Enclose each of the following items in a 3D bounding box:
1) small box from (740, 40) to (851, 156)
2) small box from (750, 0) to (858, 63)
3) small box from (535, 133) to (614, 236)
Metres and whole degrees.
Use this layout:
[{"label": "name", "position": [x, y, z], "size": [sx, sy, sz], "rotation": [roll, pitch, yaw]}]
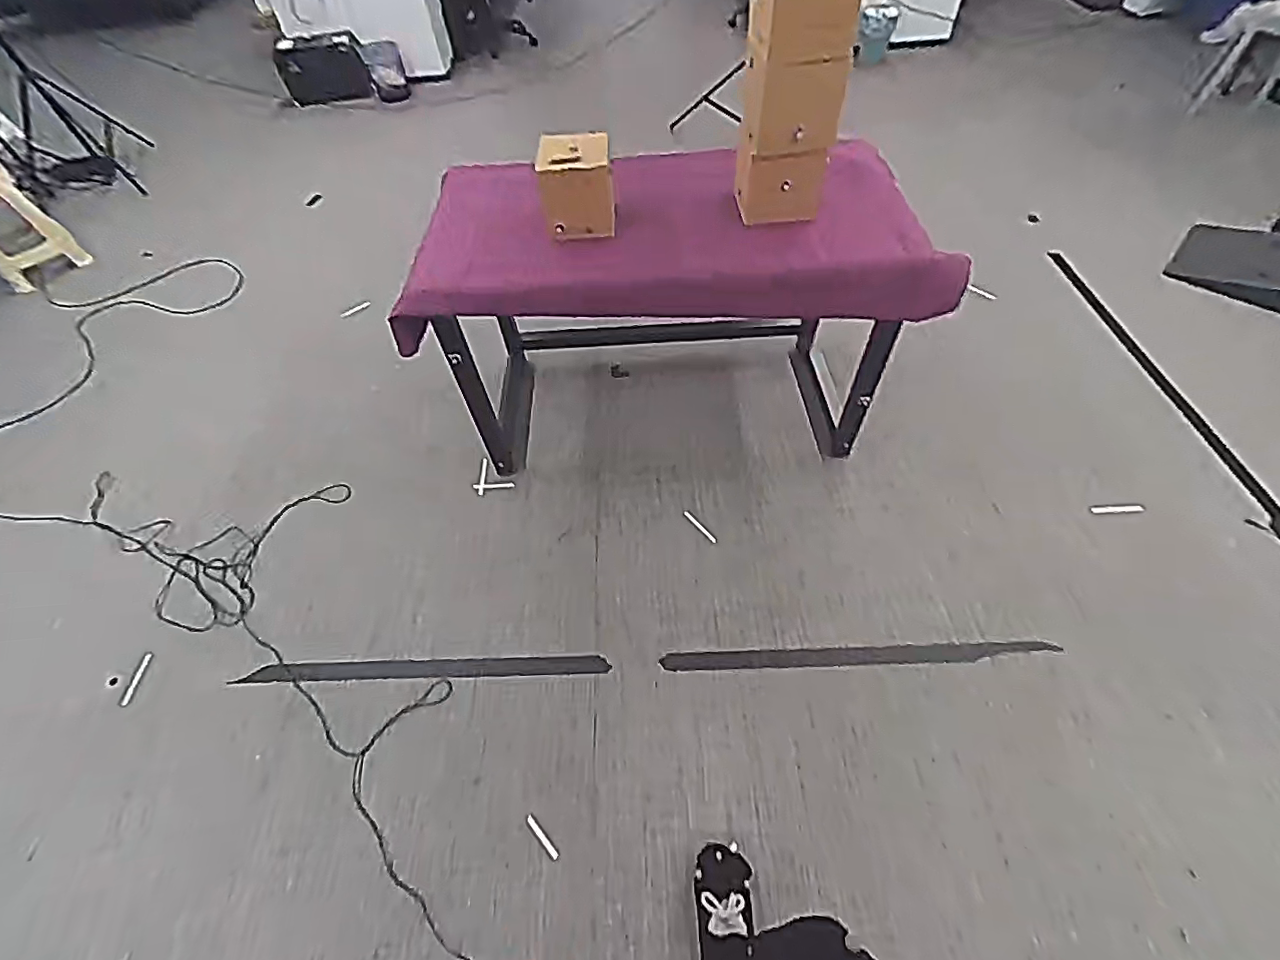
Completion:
[{"label": "small box", "position": [0.326, -0.831, 1.172], "size": [0.179, 0.176, 0.168], "rotation": [-7, 54, -2]}, {"label": "small box", "position": [0.315, -0.933, 1.045], "size": [0.179, 0.176, 0.168], "rotation": [-7, 54, -1]}, {"label": "small box", "position": [-0.151, -0.713, 1.319], "size": [0.168, 0.176, 0.179], "rotation": [-3, 53, 1]}]
